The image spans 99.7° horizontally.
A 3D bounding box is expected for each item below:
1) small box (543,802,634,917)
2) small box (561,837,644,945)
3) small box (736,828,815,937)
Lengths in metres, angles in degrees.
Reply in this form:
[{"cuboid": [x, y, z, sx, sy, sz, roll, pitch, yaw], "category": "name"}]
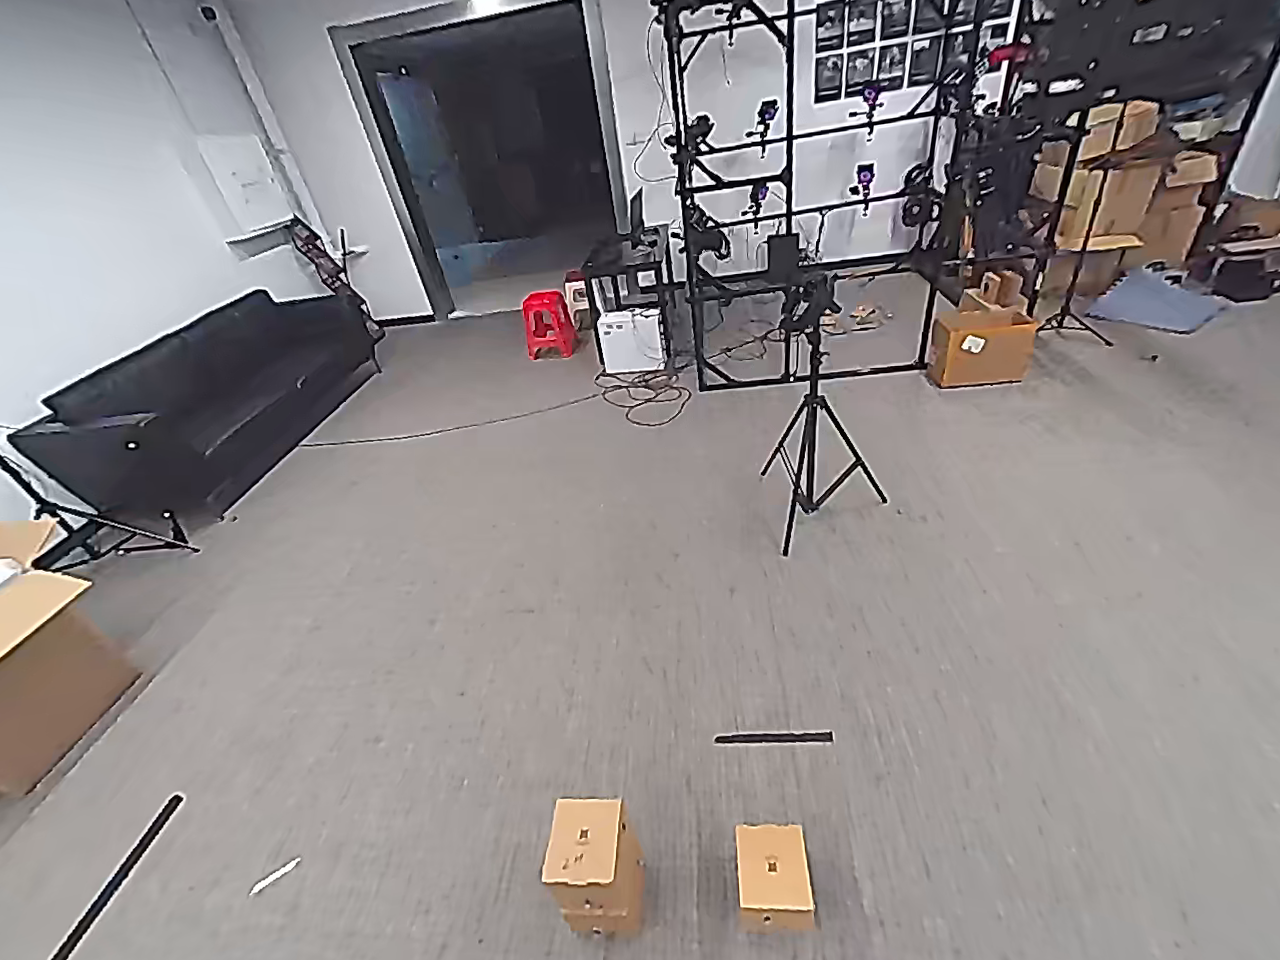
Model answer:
[{"cuboid": [-0.112, 0.891, 1.274, 0.168, 0.176, 0.179, -6, 36, 10], "category": "small box"}, {"cuboid": [-0.087, 1.028, 1.360, 0.168, 0.176, 0.179, -6, 35, 9], "category": "small box"}, {"cuboid": [0.328, 0.981, 1.317, 0.168, 0.176, 0.179, -5, 34, 8], "category": "small box"}]
